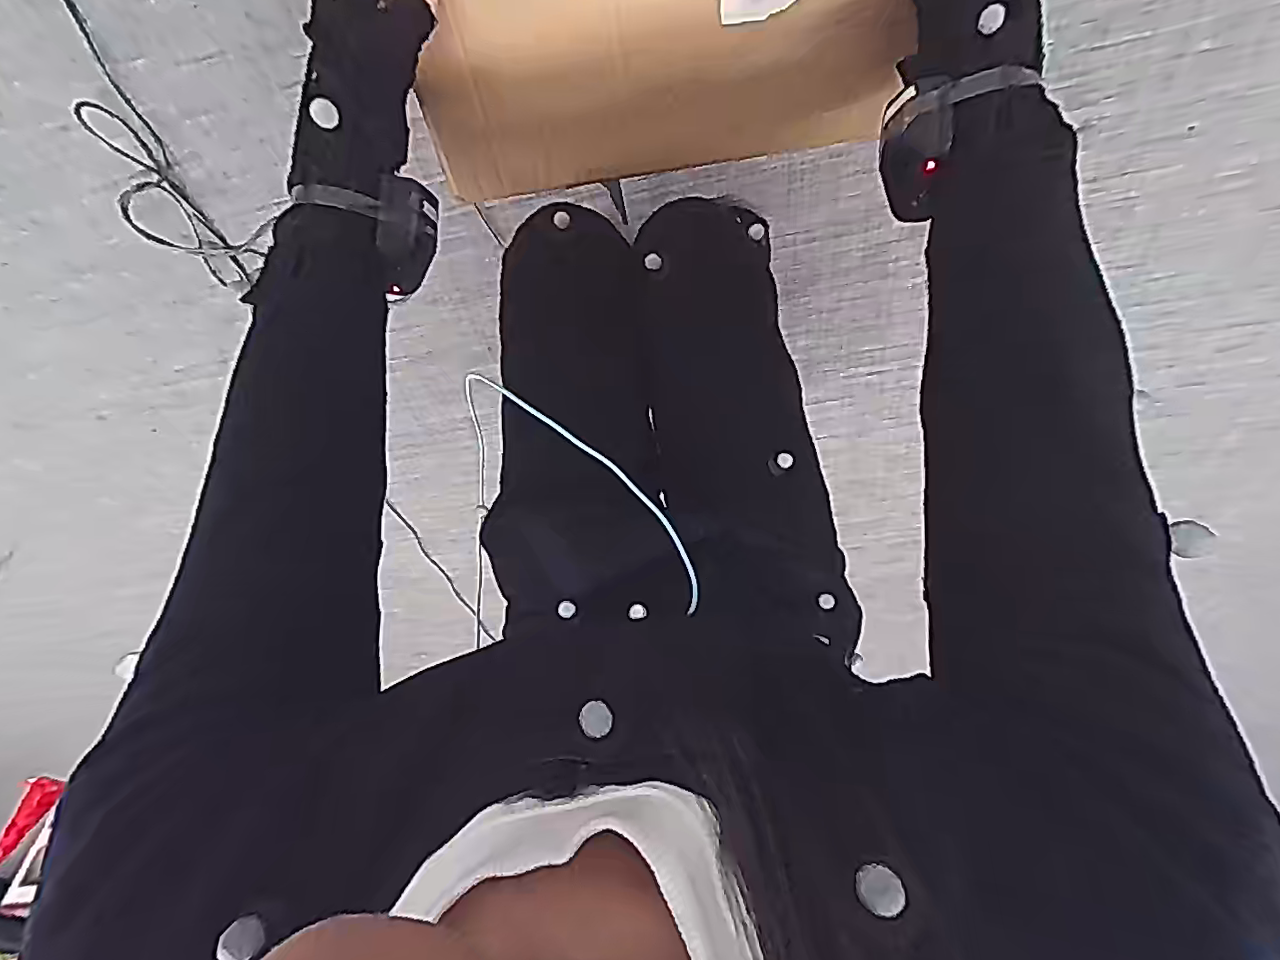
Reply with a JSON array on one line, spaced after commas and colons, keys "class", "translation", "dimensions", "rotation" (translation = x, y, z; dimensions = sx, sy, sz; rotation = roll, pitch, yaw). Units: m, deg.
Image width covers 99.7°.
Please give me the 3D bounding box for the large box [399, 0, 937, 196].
[{"class": "large box", "translation": [0.012, -0.492, 0.480], "dimensions": [0.408, 0.320, 0.320], "rotation": [-7, 132, 6]}]
